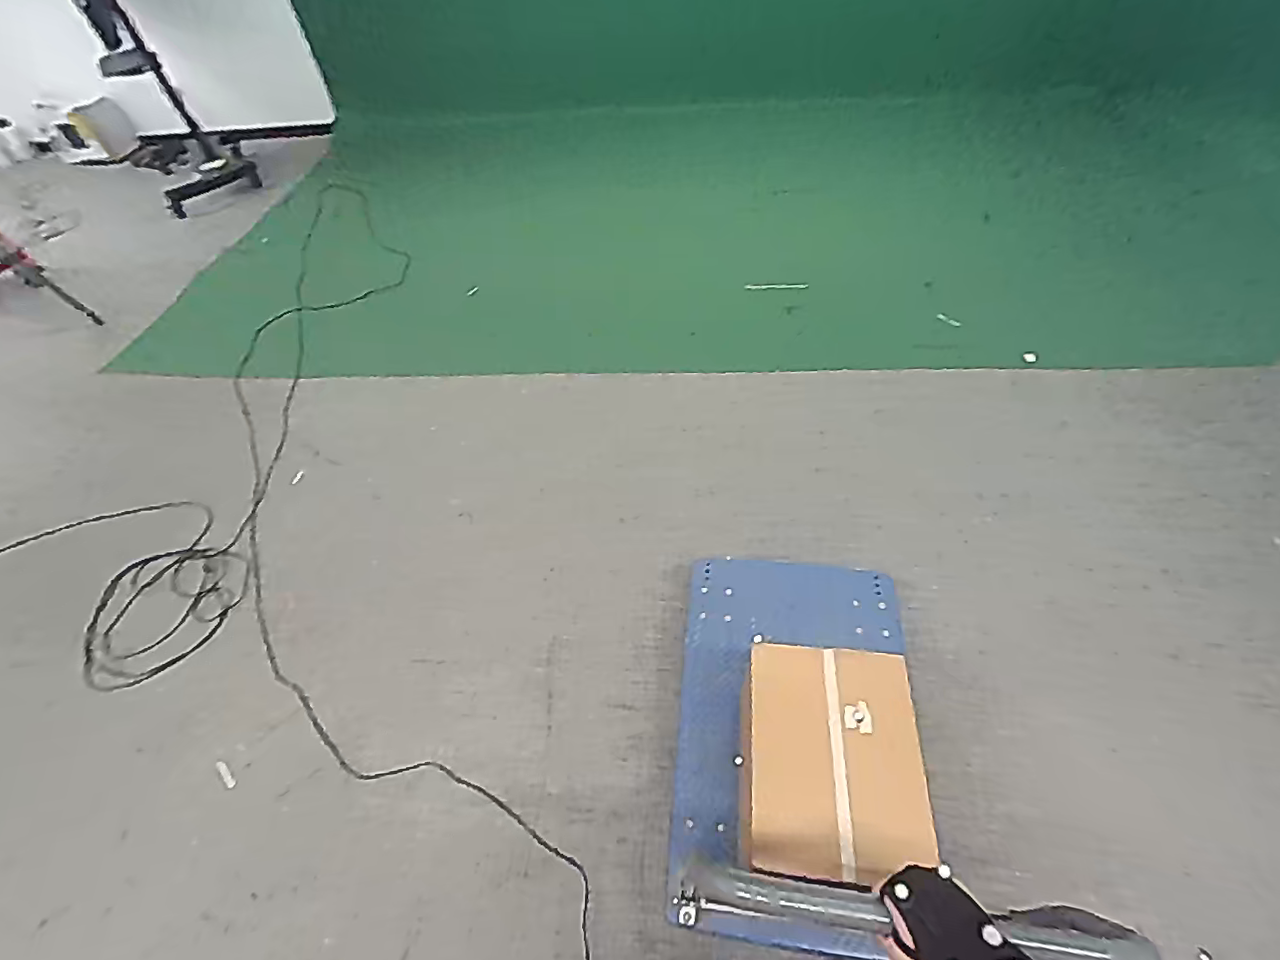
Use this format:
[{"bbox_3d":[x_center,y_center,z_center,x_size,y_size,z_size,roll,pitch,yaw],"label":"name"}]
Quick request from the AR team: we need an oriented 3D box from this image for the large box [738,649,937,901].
[{"bbox_3d":[0.371,0.619,1.142,0.320,0.320,0.408,3,51,7],"label":"large box"}]
